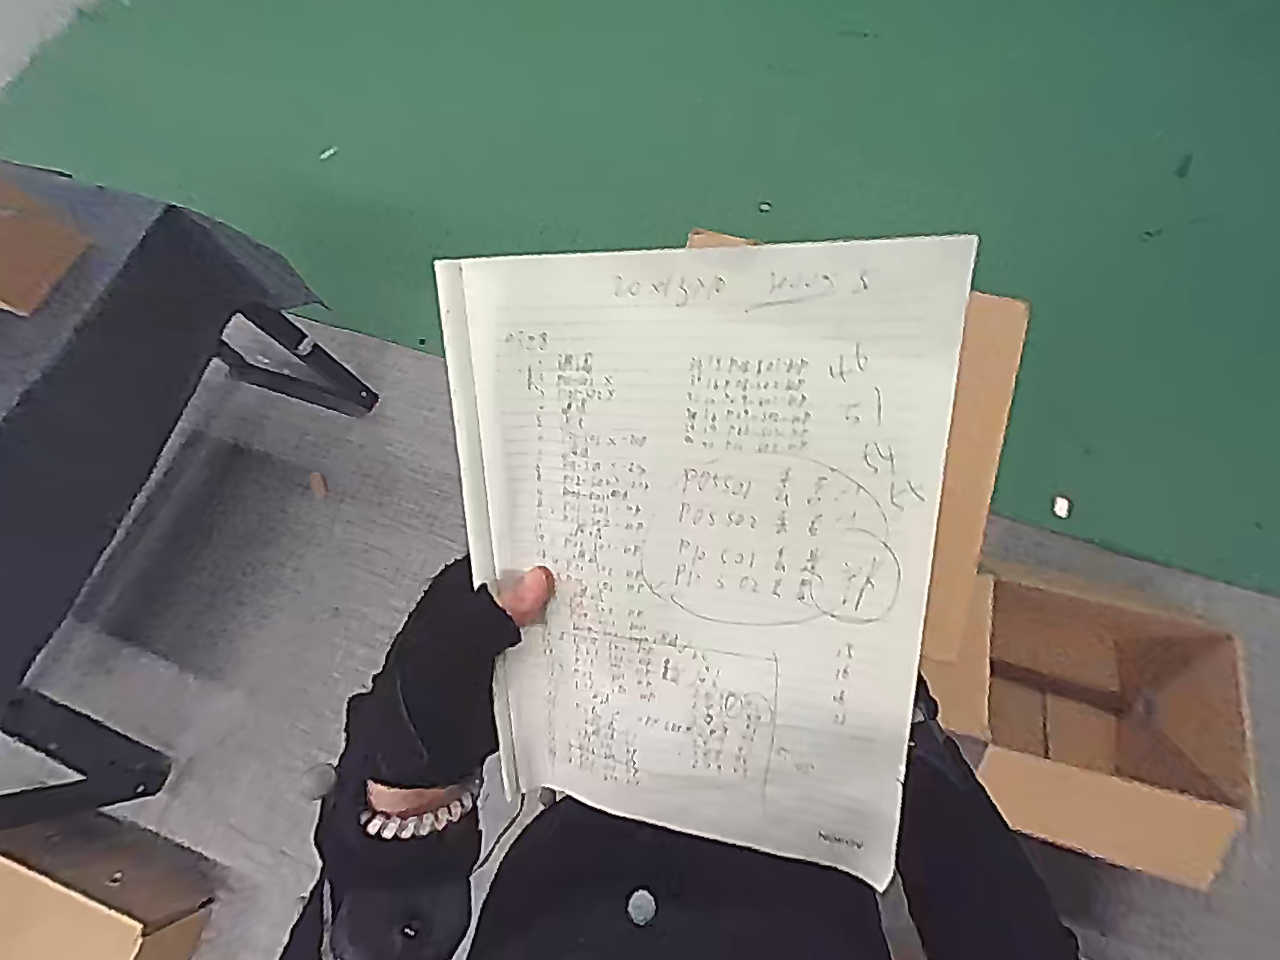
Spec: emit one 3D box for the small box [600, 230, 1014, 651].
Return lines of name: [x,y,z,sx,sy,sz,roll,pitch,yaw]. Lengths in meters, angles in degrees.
small box: [0.085,-0.015,0.338,0.168,0.176,0.179,15,83,5]
